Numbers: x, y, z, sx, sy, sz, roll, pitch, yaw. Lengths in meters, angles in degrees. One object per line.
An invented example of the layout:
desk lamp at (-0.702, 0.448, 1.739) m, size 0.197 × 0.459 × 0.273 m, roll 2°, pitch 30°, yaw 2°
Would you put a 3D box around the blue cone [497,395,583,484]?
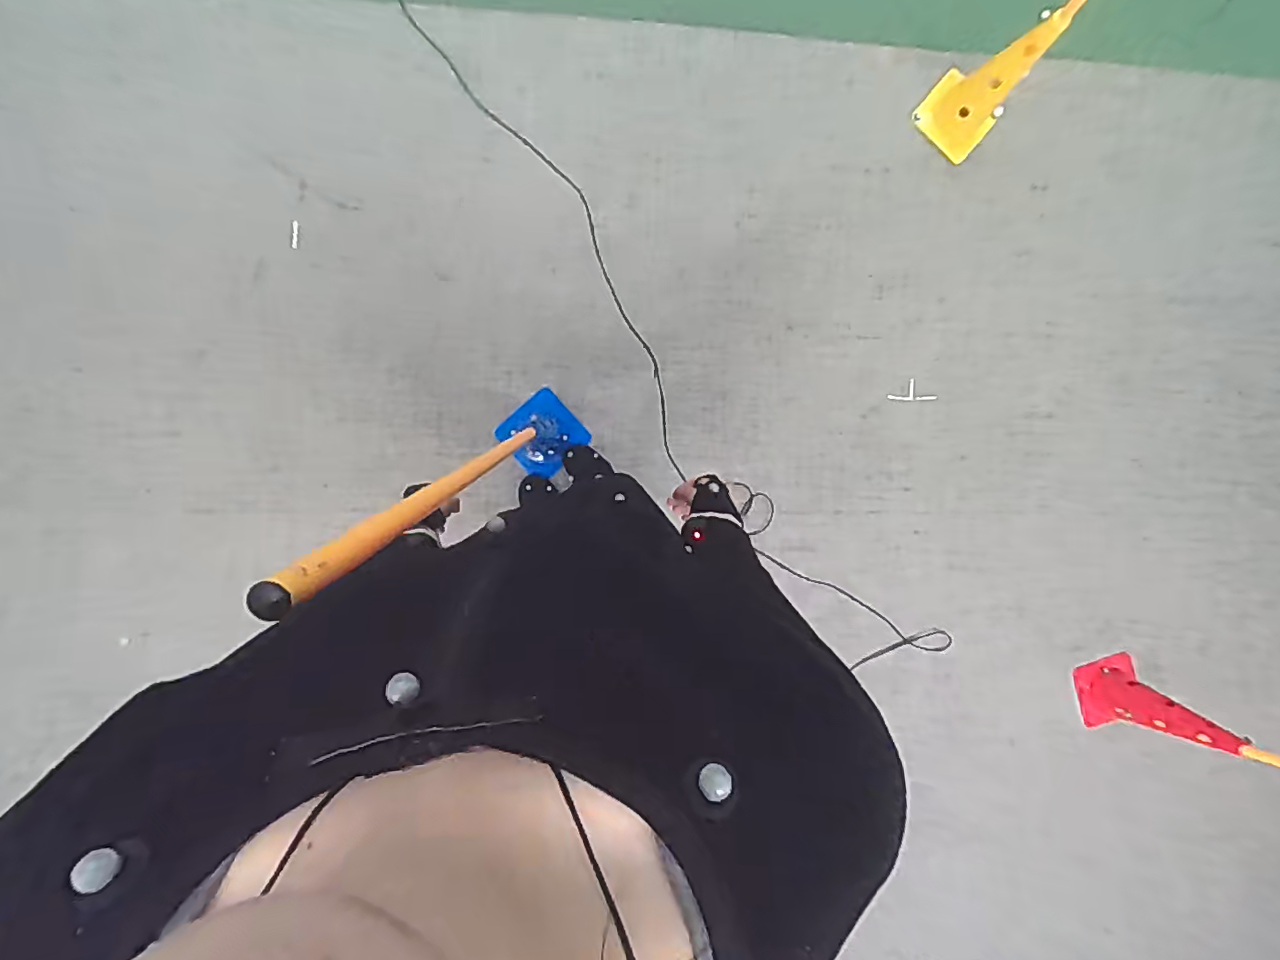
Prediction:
blue cone at (-0.251, -0.094, 1.294) m, size 0.193 × 0.380 × 0.192 m, roll -44°, pitch 97°, yaw -1°
